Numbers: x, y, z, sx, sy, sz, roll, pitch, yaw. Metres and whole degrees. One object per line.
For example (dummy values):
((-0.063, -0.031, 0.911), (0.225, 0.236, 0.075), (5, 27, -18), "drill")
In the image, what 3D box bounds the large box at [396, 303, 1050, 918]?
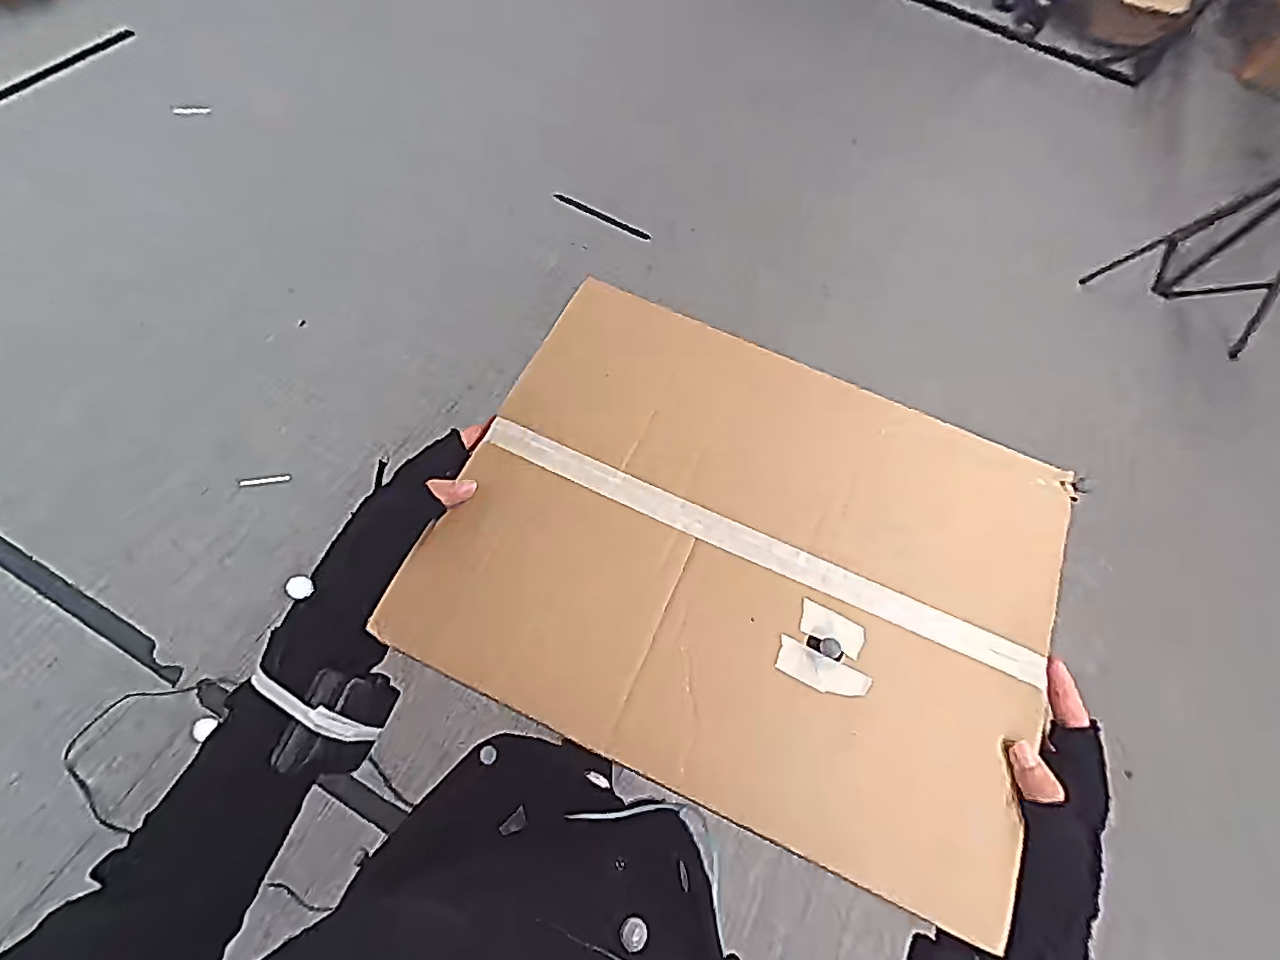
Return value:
((0.069, 0.106, 0.524), (0.408, 0.320, 0.320), (24, 70, 6), "large box")
